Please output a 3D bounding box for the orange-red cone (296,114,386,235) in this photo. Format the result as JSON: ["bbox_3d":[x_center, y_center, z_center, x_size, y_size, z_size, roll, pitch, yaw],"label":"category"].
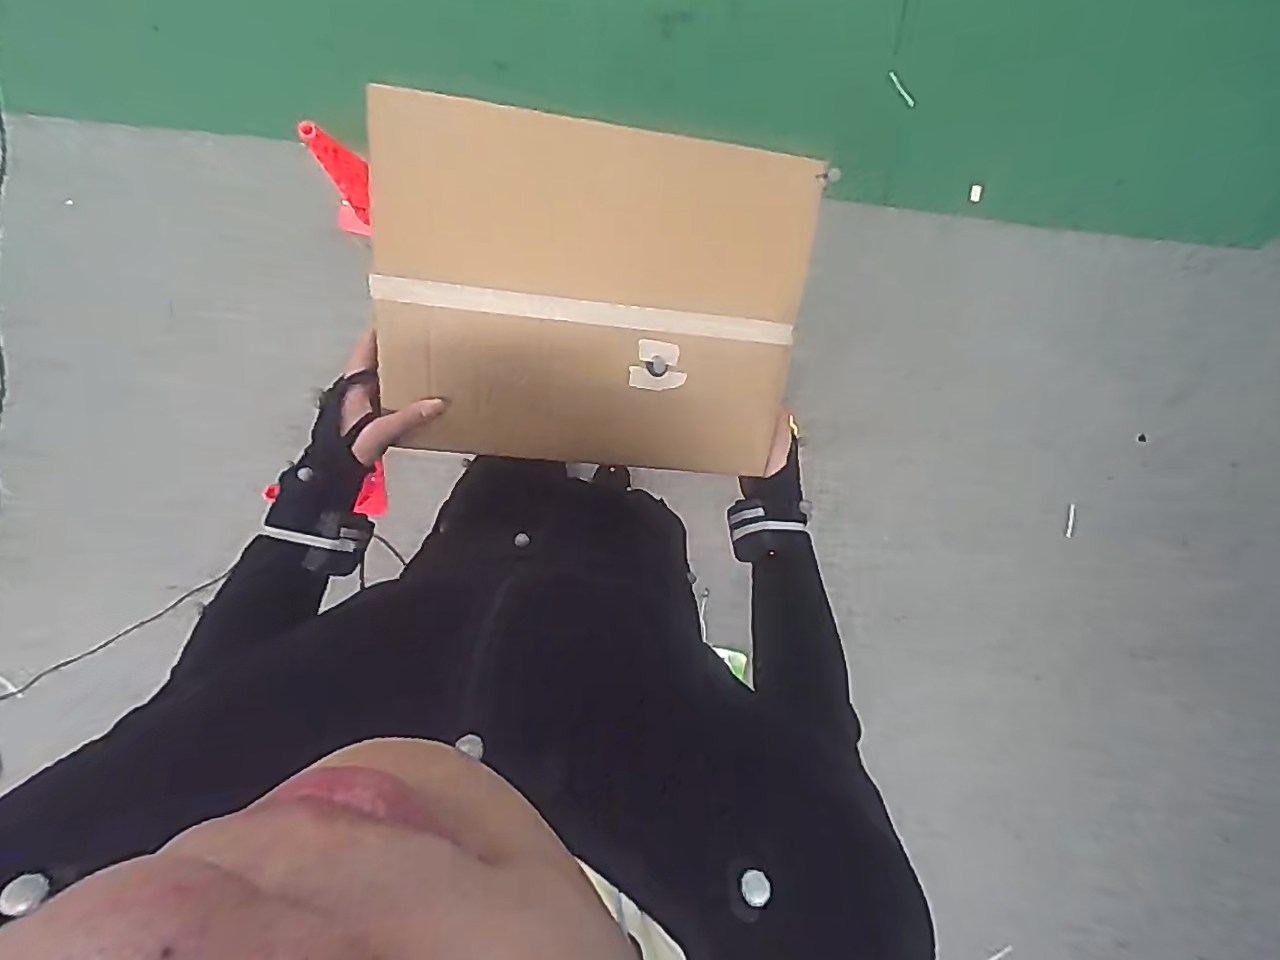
[{"bbox_3d":[-0.760,-0.808,1.388,0.199,0.360,0.198,13,92,-1],"label":"orange-red cone"}]

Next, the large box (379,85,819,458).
[{"bbox_3d":[-0.060,-0.229,0.670,0.408,0.320,0.320,4,111,-9],"label":"large box"}]

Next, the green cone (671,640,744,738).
[{"bbox_3d":[0.215,0.608,1.491,0.200,0.368,0.202,11,91,-3],"label":"green cone"}]
